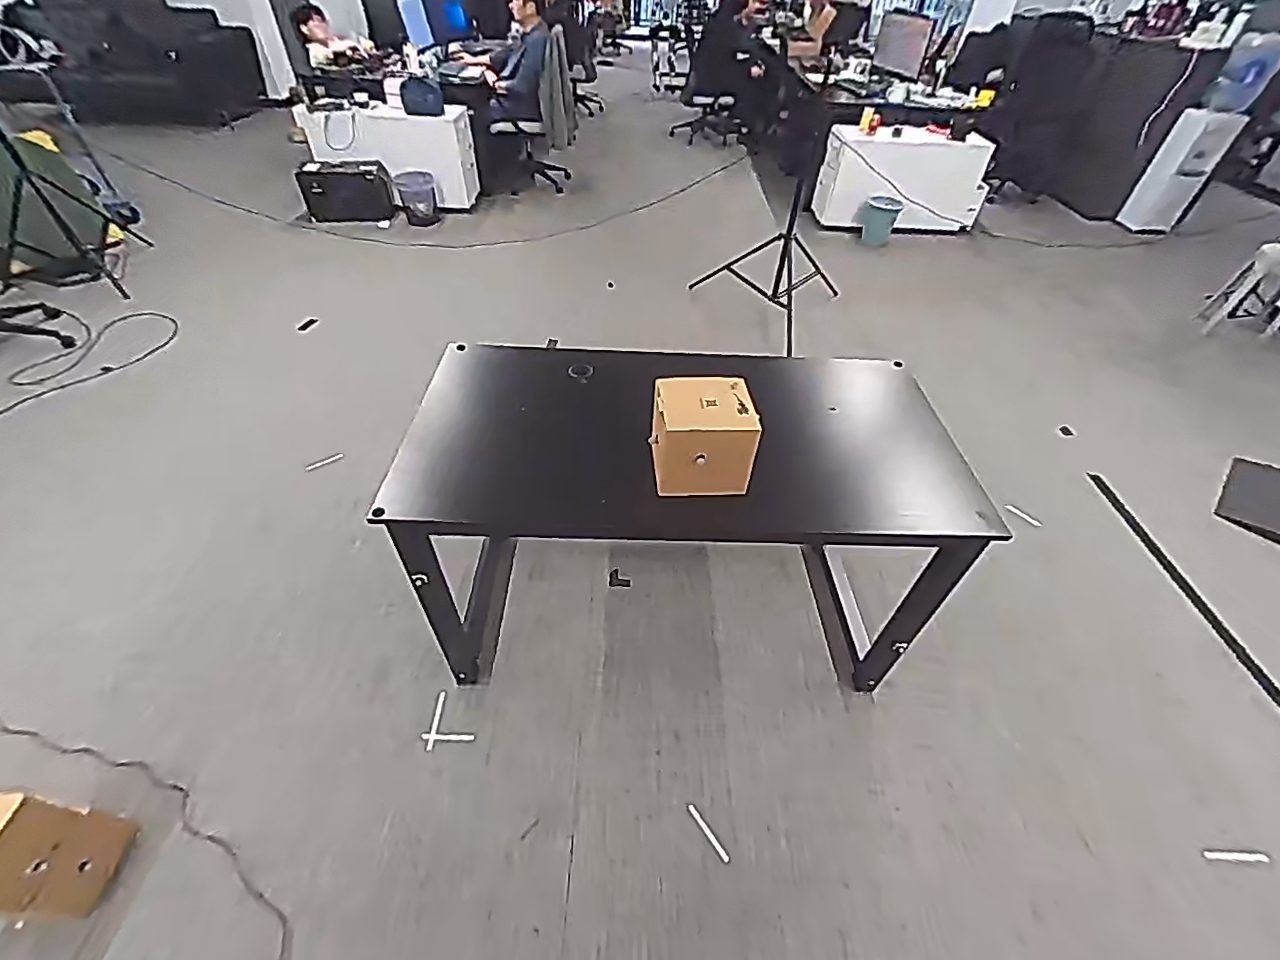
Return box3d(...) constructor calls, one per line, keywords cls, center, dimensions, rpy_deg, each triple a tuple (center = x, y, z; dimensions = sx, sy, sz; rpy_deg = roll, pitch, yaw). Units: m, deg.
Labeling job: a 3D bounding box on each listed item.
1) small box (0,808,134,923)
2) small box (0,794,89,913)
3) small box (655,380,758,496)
box3d(cls="small box", center=(-1.232, 0.810, 1.136), dimensions=(0.168, 0.176, 0.179), rpy_deg=(1, 46, -2))
box3d(cls="small box", center=(-1.230, 0.701, 1.016), dimensions=(0.179, 0.176, 0.168), rpy_deg=(4, 47, -1))
box3d(cls="small box", center=(0.121, -0.080, 1.072), dimensions=(0.179, 0.176, 0.168), rpy_deg=(-2, 44, -4))
